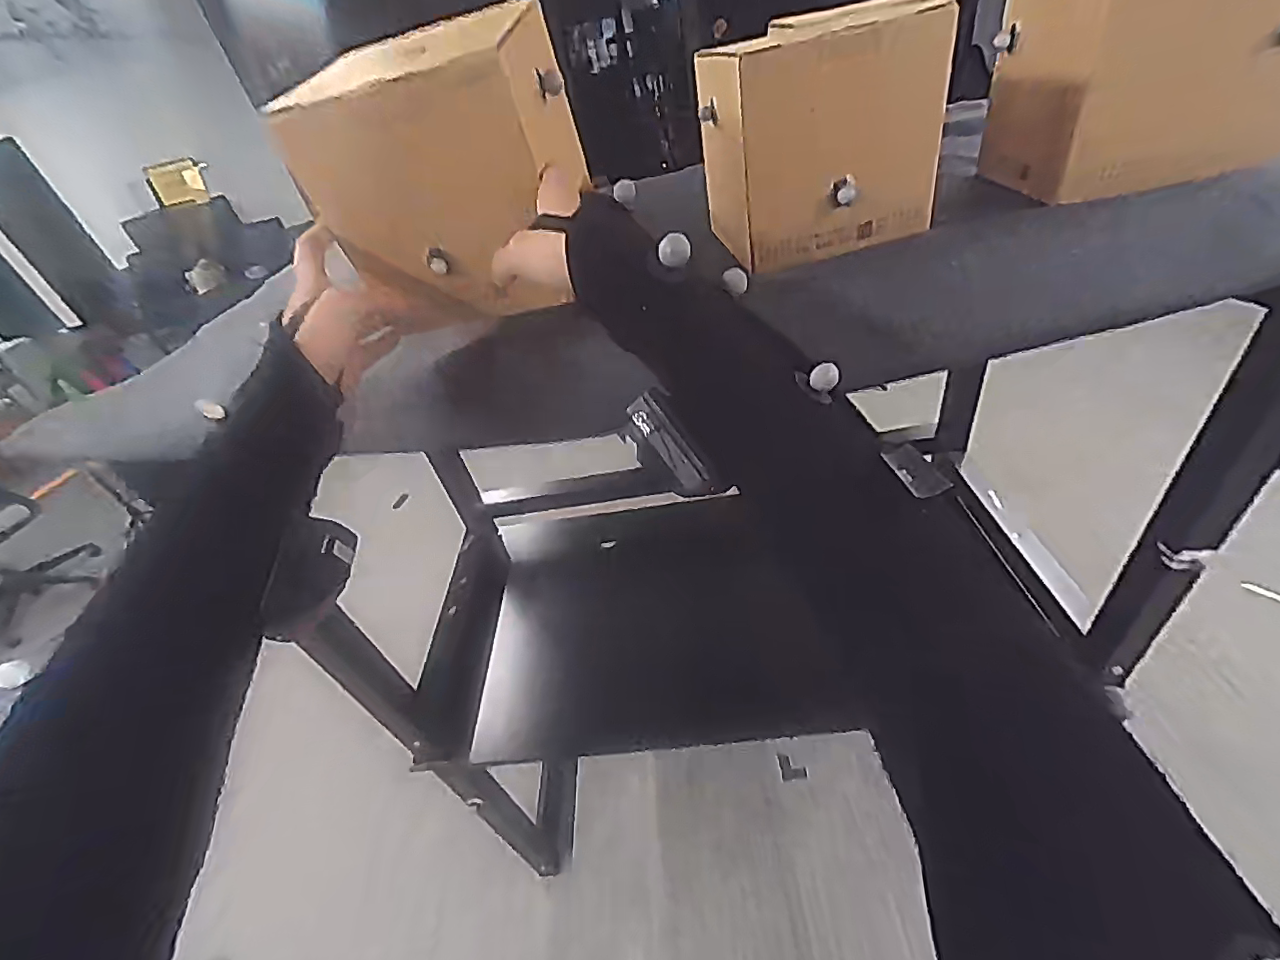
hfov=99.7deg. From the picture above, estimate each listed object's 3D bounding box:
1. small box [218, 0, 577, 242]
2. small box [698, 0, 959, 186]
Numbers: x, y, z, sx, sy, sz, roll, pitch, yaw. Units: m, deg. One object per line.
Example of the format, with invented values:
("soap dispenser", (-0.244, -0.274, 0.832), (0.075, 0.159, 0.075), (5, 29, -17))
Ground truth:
("small box", (-0.151, -0.302, 0.394), (0.168, 0.176, 0.179), (-8, 49, 10))
("small box", (0.148, -0.374, 0.472), (0.168, 0.176, 0.179), (-13, 40, 2))
